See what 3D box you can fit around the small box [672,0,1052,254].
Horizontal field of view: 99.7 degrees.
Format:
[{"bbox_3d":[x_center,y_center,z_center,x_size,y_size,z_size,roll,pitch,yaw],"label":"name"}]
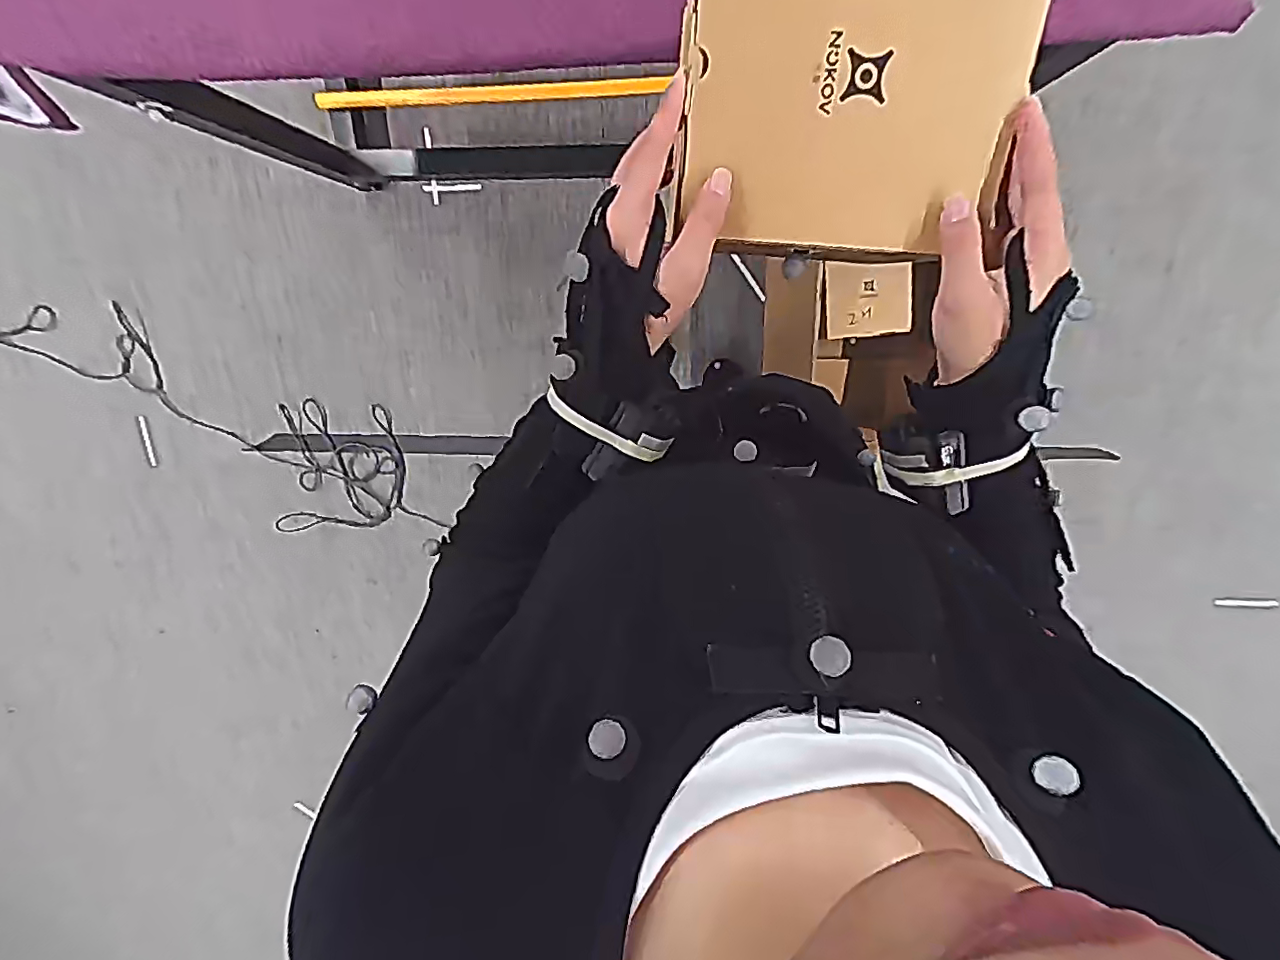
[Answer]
[{"bbox_3d":[0.116,-0.241,0.350,0.179,0.176,0.168,4,112,1],"label":"small box"}]
